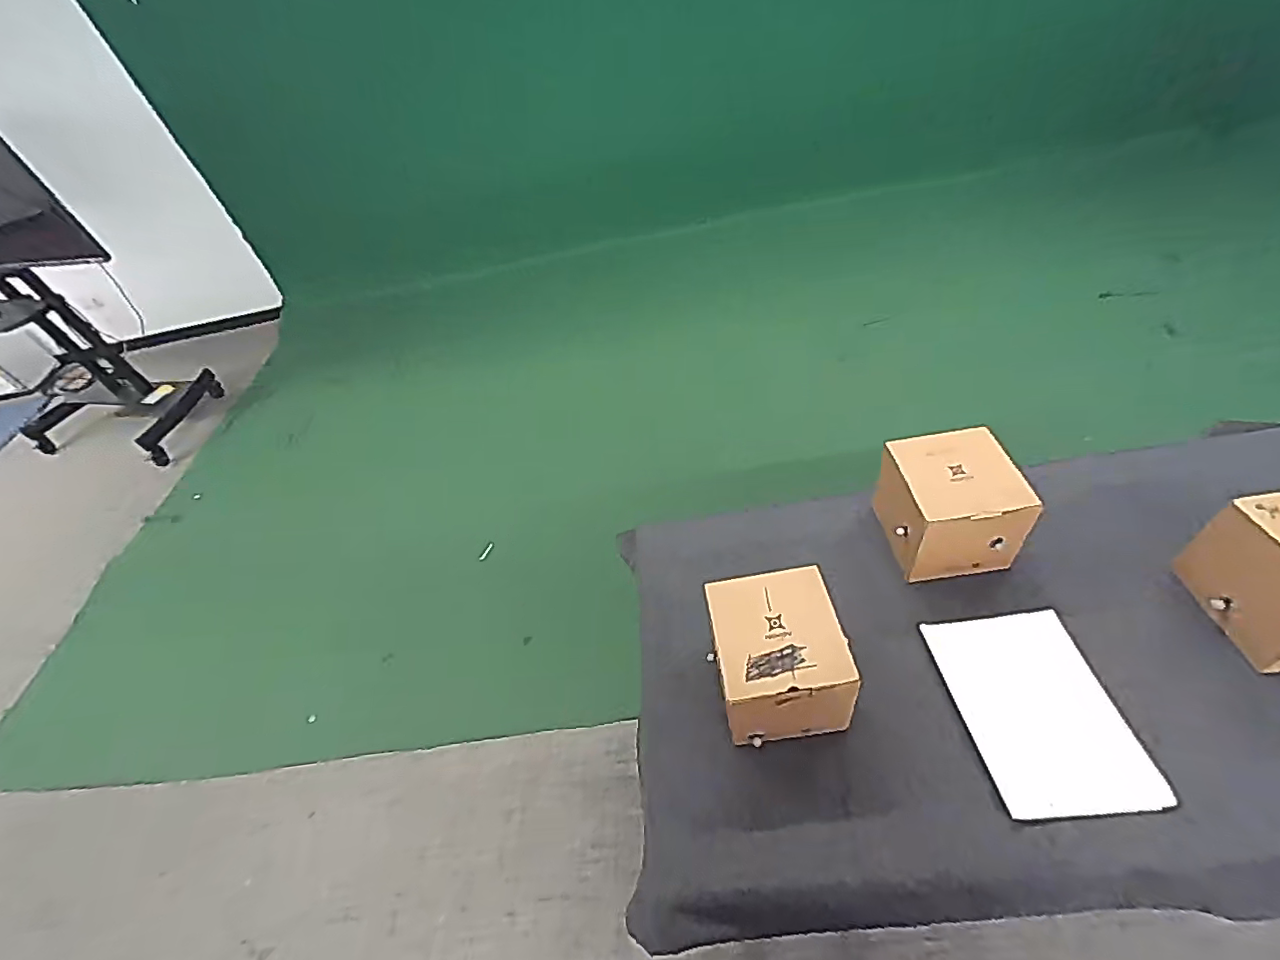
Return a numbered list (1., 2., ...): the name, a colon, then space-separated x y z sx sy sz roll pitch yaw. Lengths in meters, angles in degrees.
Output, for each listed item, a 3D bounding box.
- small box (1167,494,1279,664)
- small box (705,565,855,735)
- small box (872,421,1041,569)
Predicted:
1. small box: 0.888 0.133 0.725 0.168 0.176 0.179 -9 48 5
2. small box: 0.193 0.252 0.782 0.168 0.176 0.179 -10 47 3
3. small box: 0.501 0.032 0.889 0.168 0.176 0.179 -9 47 4
